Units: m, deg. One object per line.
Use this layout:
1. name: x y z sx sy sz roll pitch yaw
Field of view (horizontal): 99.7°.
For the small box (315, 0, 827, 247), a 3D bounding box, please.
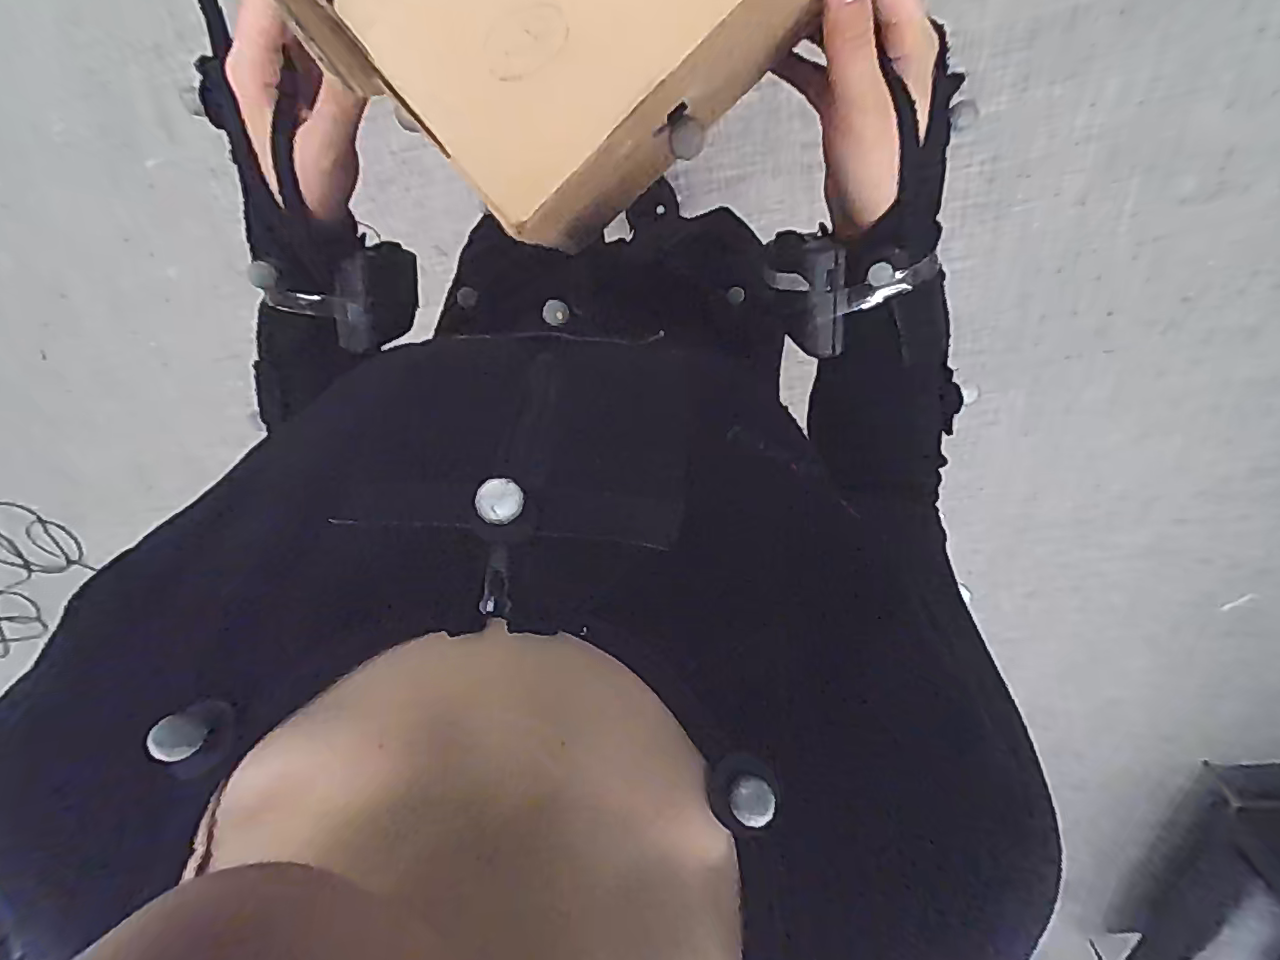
1. small box: -0.025 -0.219 0.223 0.179 0.176 0.168 -39 106 14
